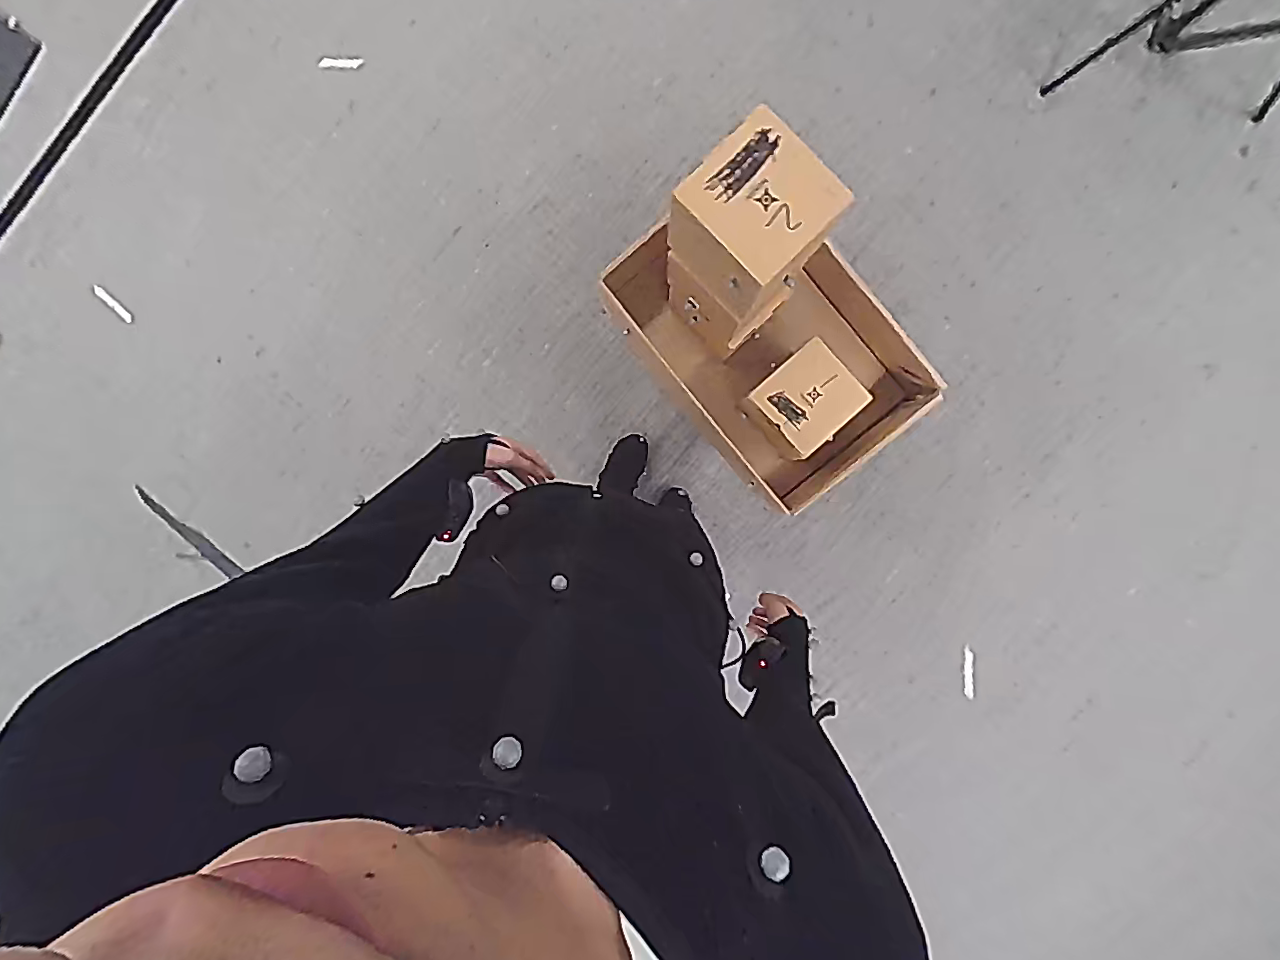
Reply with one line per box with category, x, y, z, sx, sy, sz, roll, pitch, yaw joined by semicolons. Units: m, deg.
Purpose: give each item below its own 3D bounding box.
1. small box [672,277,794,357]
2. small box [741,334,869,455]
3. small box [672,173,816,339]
small box;0.177;-0.375;1.103;0.168;0.176;0.179;-42;92;4
small box;0.324;-0.165;1.109;0.179;0.176;0.168;-42;91;3
small box;0.167;-0.375;0.940;0.179;0.176;0.168;-45;90;3
